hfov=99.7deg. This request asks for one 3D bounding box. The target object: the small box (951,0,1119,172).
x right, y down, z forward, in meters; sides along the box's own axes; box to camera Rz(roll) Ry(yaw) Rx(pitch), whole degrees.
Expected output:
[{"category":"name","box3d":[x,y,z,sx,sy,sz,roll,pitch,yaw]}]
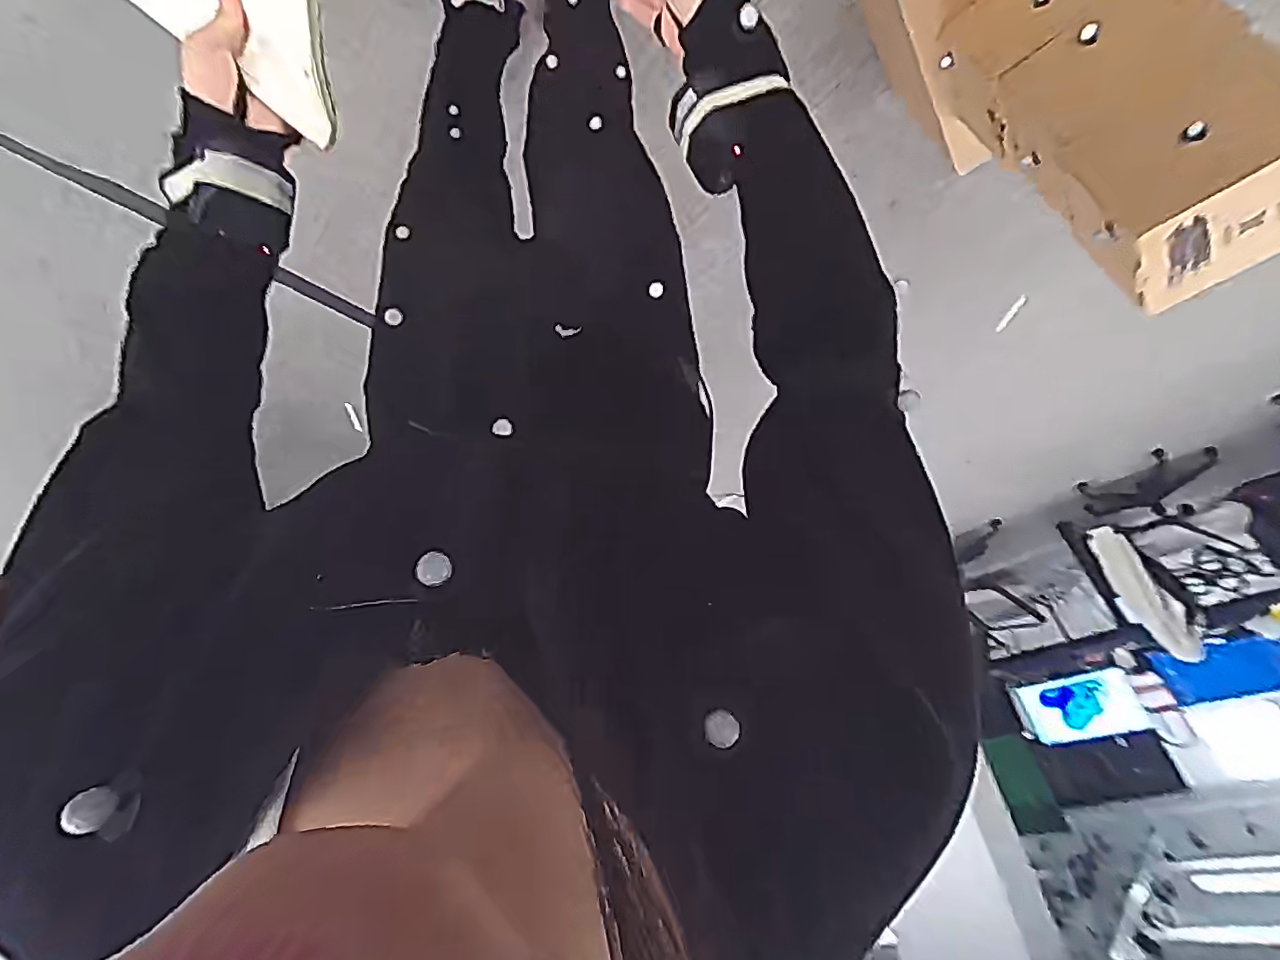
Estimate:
[{"category":"small box","box3d":[0.576,-0.603,0.778,0.179,0.176,0.168,-28,144,28]}]

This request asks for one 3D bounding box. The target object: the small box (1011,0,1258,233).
[{"category":"small box","box3d":[0.605,-0.468,0.688,0.179,0.176,0.168,-29,144,31]}]
